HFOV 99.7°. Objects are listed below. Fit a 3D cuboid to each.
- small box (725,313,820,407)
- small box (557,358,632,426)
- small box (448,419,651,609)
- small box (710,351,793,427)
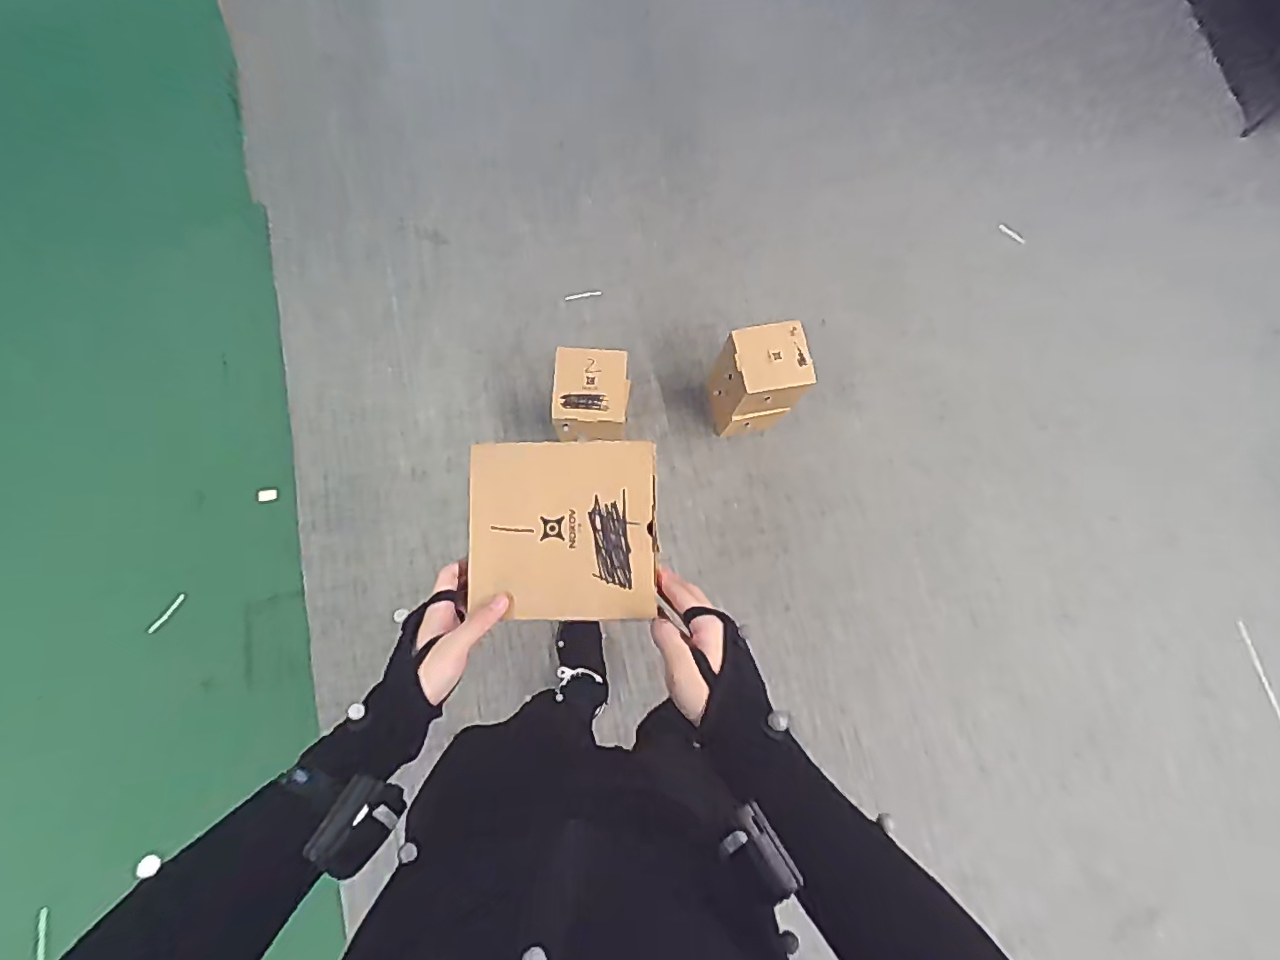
[{"bbox_3d":[0.314,-0.287,1.325,0.179,0.176,0.168,-8,80,-4],"label":"small box"},{"bbox_3d":[-0.118,-0.202,1.449,0.168,0.176,0.179,10,79,-2],"label":"small box"},{"bbox_3d":[-0.079,0.034,0.560,0.179,0.176,0.168,2,85,2],"label":"small box"},{"bbox_3d":[0.299,-0.252,1.486,0.168,0.176,0.179,-10,80,-5],"label":"small box"}]
